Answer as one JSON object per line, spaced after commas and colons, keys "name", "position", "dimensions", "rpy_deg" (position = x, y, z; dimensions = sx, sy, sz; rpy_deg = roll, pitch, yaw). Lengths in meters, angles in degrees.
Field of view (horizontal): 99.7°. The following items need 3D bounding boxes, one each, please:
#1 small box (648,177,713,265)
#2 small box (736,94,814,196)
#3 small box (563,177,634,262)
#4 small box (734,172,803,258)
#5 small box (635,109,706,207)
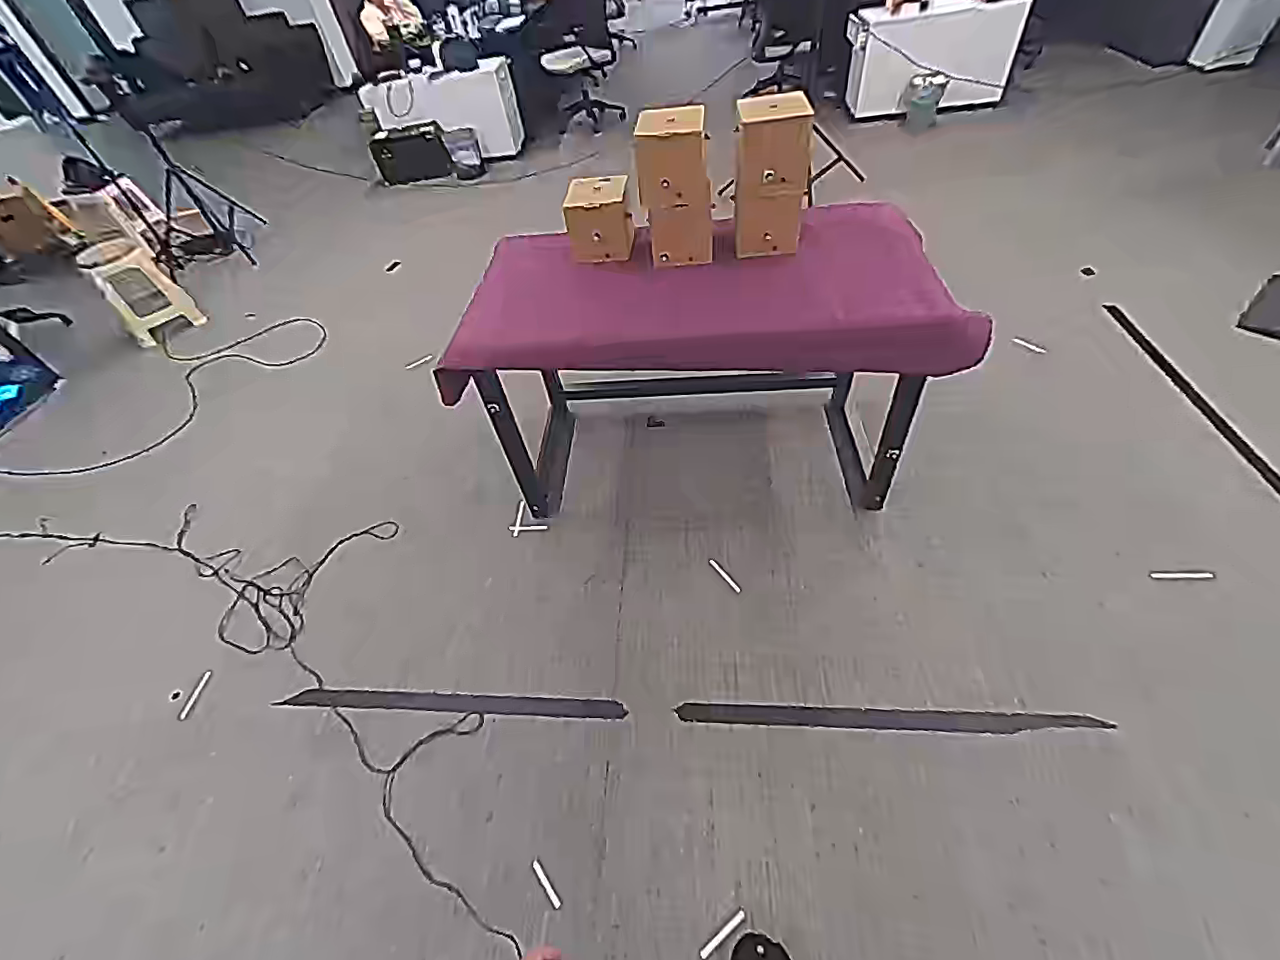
{"name": "small box", "position": [0.117, -0.714, 1.504], "dimensions": [0.168, 0.176, 0.179], "rpy_deg": [-2, 49, 7]}
{"name": "small box", "position": [0.334, -0.845, 1.369], "dimensions": [0.168, 0.176, 0.179], "rpy_deg": [-4, 50, 6]}
{"name": "small box", "position": [-0.112, -0.748, 1.567], "dimensions": [0.168, 0.176, 0.179], "rpy_deg": [0, 51, 8]}
{"name": "small box", "position": [0.347, -0.736, 1.488], "dimensions": [0.168, 0.176, 0.179], "rpy_deg": [-2, 50, 8]}
{"name": "small box", "position": [0.085, -0.823, 1.387], "dimensions": [0.168, 0.176, 0.179], "rpy_deg": [0, 51, 9]}
